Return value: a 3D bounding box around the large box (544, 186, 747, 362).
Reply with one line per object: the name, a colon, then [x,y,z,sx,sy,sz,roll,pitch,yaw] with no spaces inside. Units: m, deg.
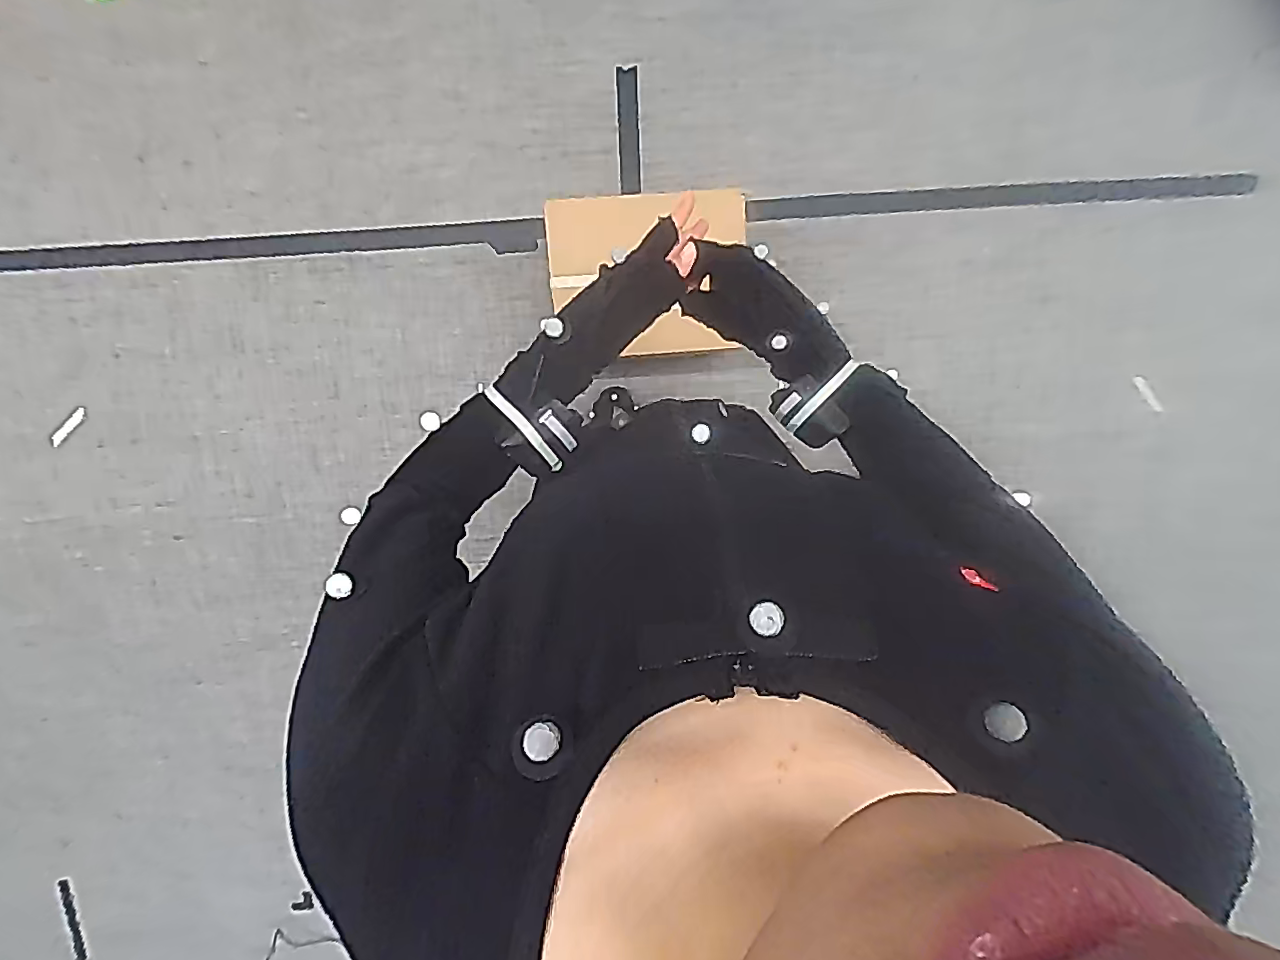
large box: [0.009,-0.451,1.257,0.408,0.320,0.320,-5,102,-2]
